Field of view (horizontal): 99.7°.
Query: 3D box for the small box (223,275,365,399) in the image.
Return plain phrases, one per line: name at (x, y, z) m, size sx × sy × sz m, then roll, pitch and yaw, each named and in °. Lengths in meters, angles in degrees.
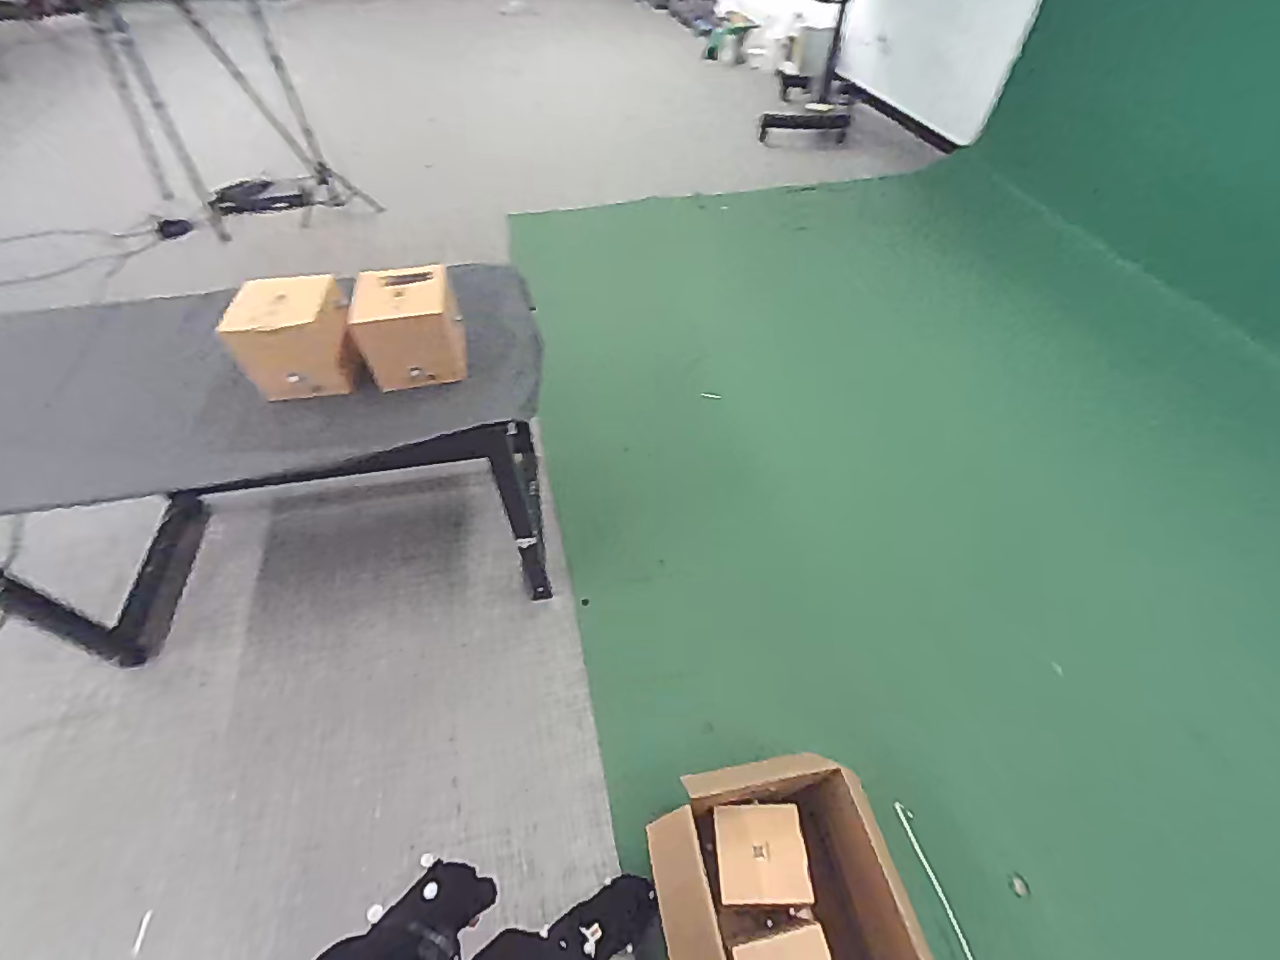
small box at (-0.675, -0.286, 1.083) m, size 0.168 × 0.176 × 0.179 m, roll -6°, pitch 51°, yaw -5°
